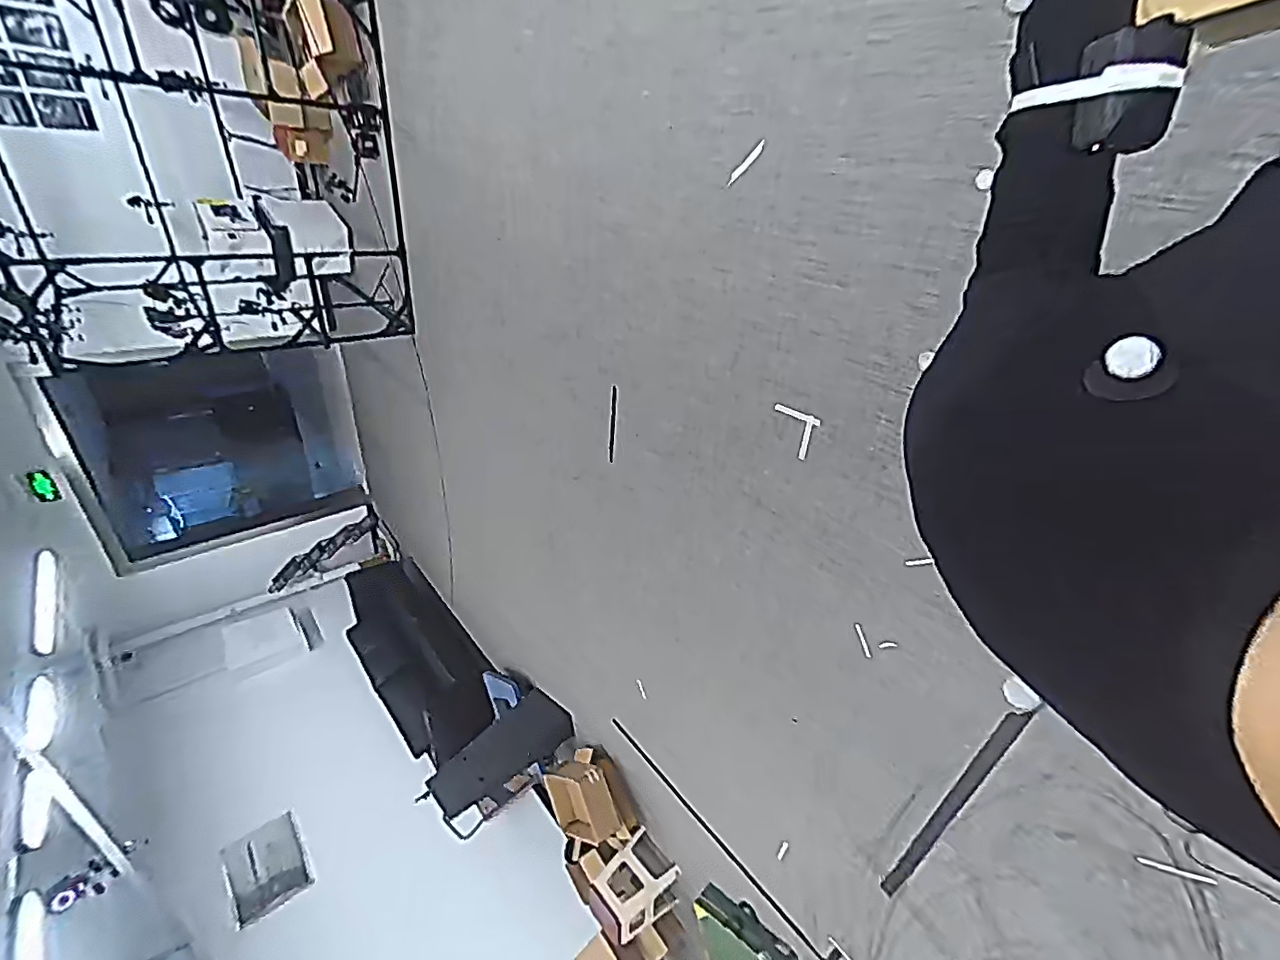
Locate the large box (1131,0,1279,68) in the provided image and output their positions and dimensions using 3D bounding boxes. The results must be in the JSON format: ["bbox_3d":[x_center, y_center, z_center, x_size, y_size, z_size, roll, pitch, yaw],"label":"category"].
[{"bbox_3d":[0.525,-0.444,0.239,0.408,0.320,0.320,13,126,47],"label":"large box"}]
